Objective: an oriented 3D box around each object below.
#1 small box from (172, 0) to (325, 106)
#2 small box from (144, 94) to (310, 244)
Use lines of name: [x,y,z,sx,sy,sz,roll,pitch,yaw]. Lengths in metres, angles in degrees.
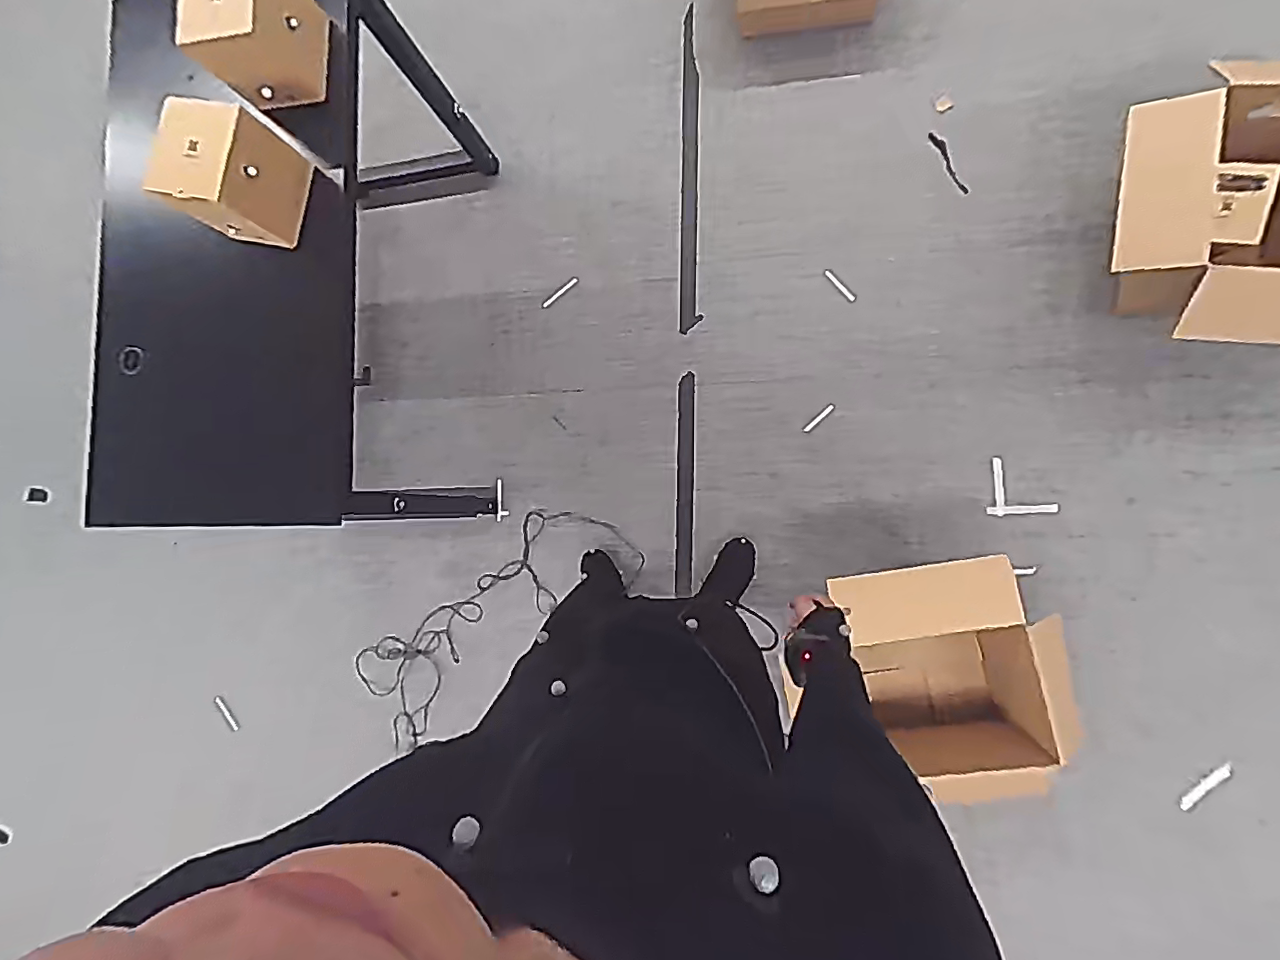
small box: [-0.723,-0.851,1.016,0.168,0.176,0.179,1,89,12]
small box: [-0.759,-0.573,1.012,0.168,0.176,0.179,13,90,12]
